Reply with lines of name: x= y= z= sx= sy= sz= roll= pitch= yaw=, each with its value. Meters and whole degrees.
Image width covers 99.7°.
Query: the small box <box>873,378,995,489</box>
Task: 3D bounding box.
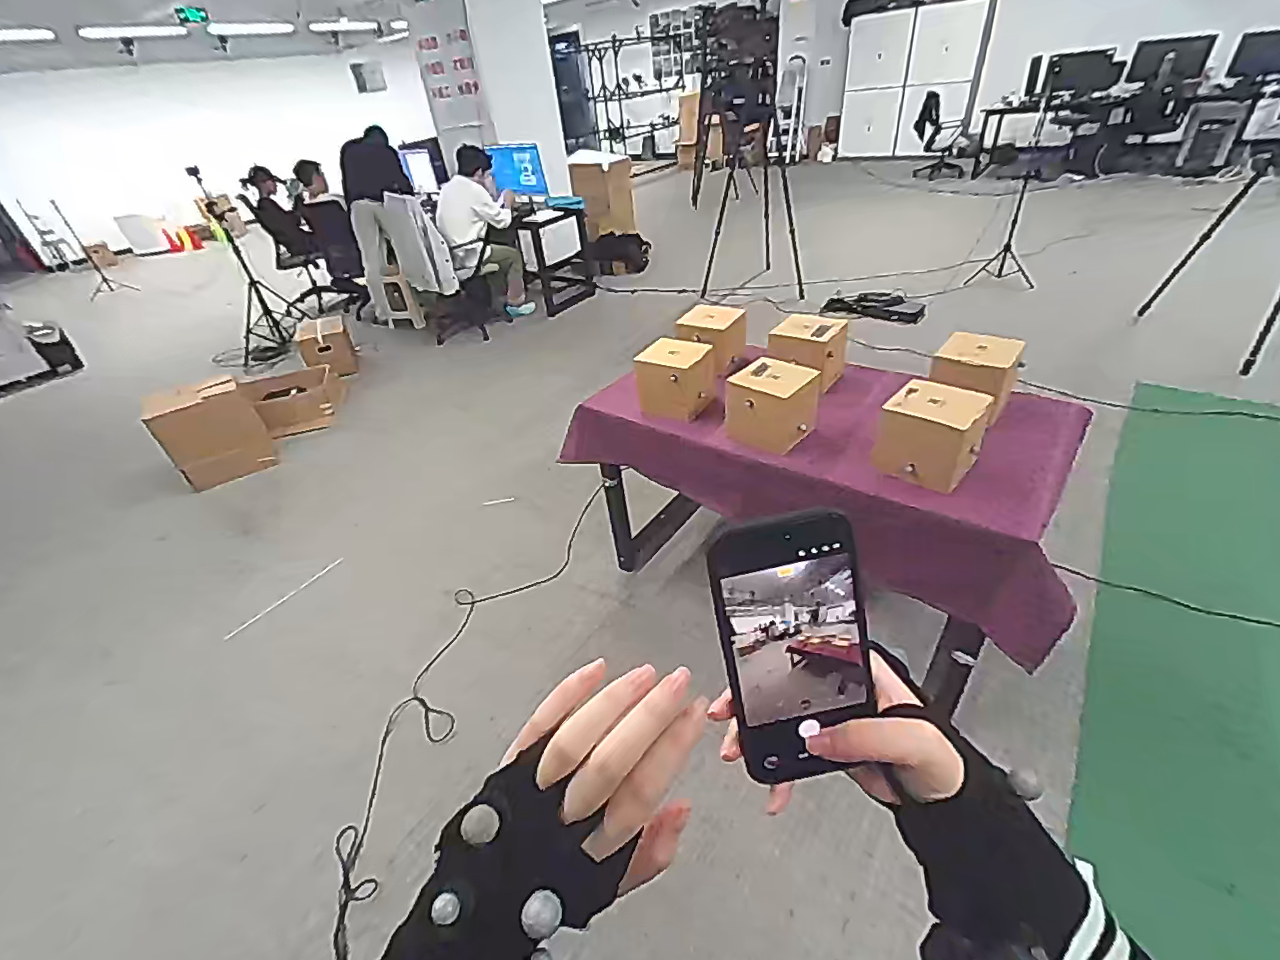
small box: x=0.656 y=-0.103 z=1.221 sx=0.179 sy=0.176 sz=0.168 roll=28 pitch=48 yaw=37

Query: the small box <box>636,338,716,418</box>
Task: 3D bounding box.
small box: x=0.108 y=-0.298 z=1.578 sx=0.179 sy=0.176 sz=0.168 roll=17 pitch=43 yaw=28

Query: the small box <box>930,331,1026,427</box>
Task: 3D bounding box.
small box: x=0.860 y=-0.263 z=1.398 sx=0.168 sy=0.176 sz=0.179 roll=24 pitch=47 yaw=36

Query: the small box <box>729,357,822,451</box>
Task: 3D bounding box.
small box: x=0.345 y=-0.196 z=1.400 sx=0.179 sy=0.176 sz=0.168 roll=27 pitch=49 yaw=36
